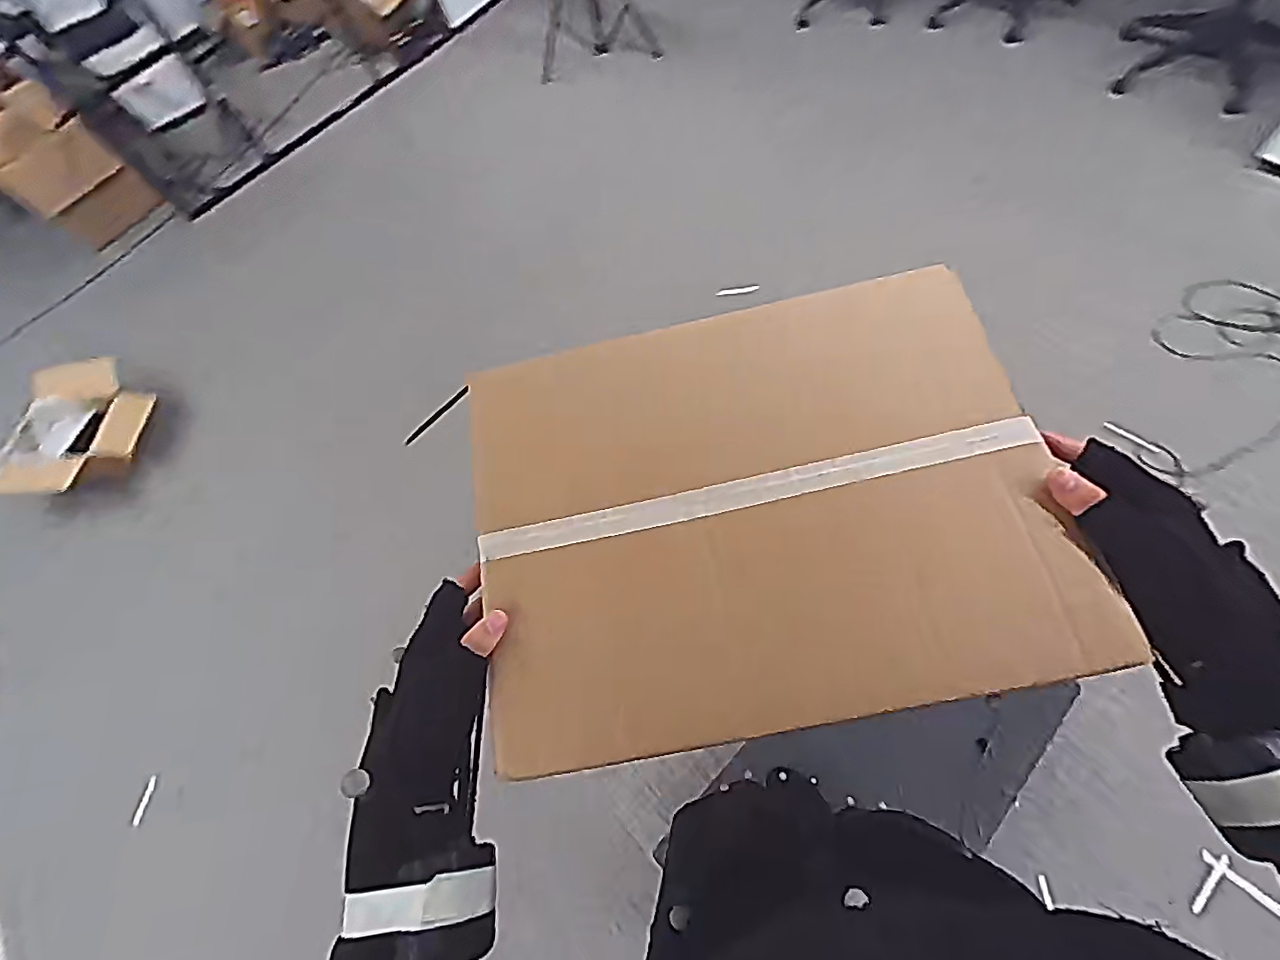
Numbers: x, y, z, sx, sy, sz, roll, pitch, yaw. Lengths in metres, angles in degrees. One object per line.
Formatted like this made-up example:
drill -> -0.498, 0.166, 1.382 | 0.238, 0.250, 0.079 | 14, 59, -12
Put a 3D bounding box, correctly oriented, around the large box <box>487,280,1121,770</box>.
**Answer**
large box -> 0.105, 0.064, 0.539 | 0.408, 0.320, 0.320 | -11, 68, 3
